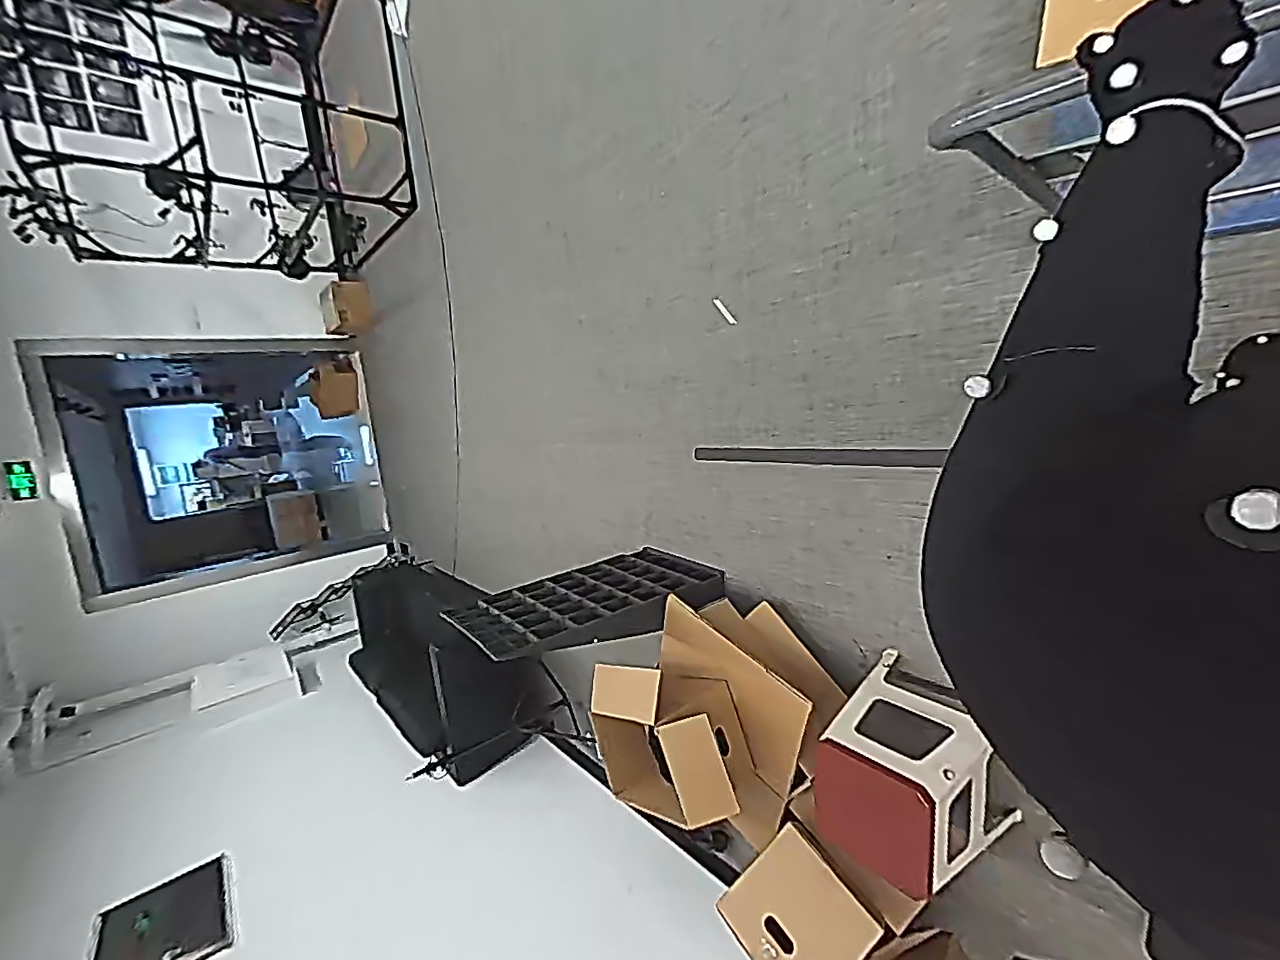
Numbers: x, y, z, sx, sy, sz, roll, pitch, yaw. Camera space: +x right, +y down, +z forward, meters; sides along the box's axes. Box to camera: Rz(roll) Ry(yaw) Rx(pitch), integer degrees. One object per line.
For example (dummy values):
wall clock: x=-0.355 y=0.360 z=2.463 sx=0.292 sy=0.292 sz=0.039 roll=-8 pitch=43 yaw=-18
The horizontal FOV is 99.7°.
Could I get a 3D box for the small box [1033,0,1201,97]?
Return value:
small box: x=0.780 y=-0.759 z=0.879 sx=0.179 sy=0.176 sz=0.168 roll=16 pitch=111 yaw=47
